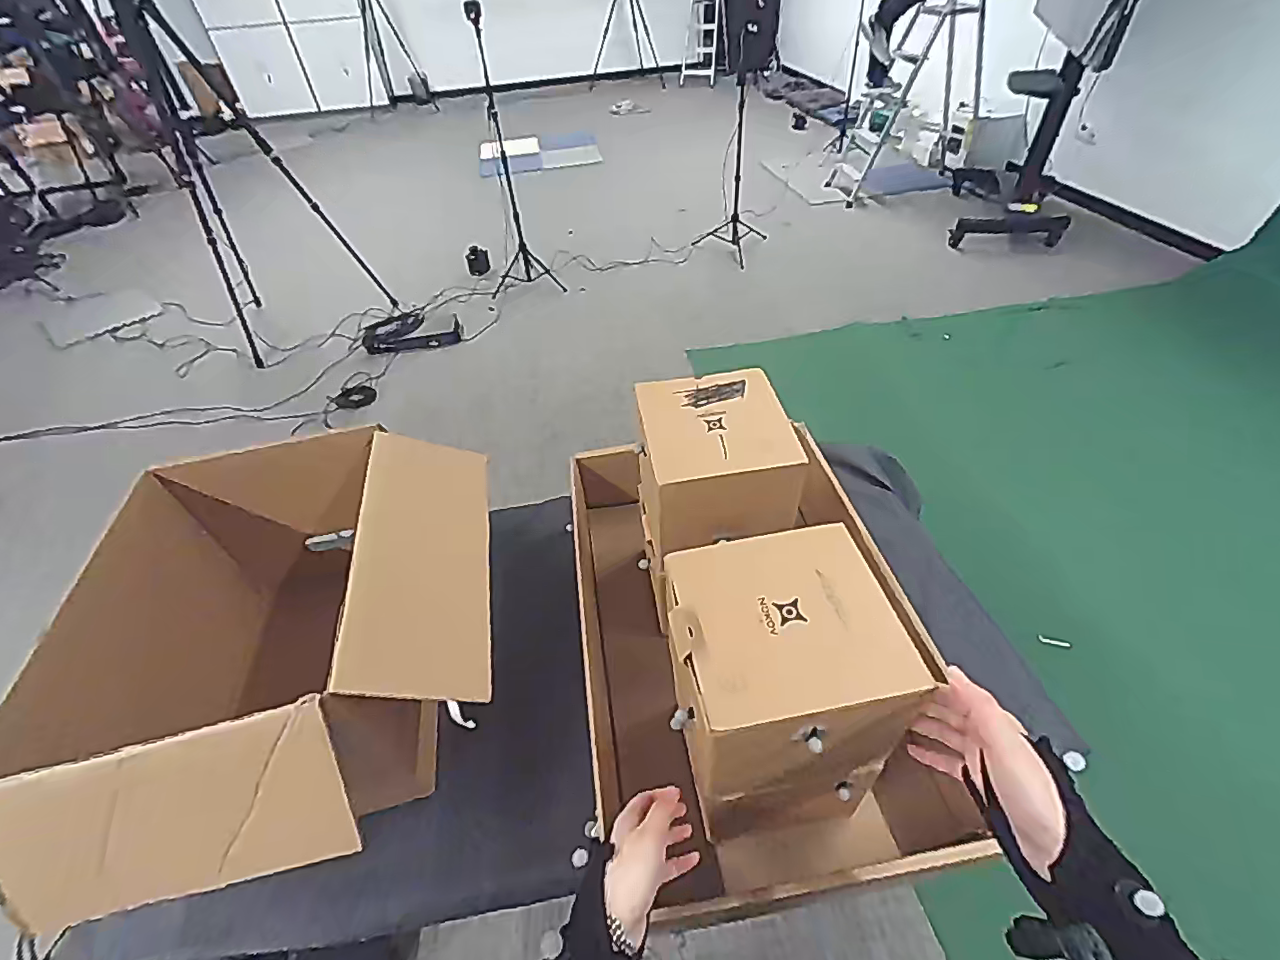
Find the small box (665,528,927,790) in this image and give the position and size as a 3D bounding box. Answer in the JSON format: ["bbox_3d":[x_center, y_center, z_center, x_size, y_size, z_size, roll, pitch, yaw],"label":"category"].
[{"bbox_3d":[0.126,0.172,0.513,0.179,0.176,0.168,-9,46,-5],"label":"small box"}]

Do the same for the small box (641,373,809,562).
[{"bbox_3d":[0.093,-0.010,0.686,0.168,0.176,0.179,-8,49,-3],"label":"small box"}]
